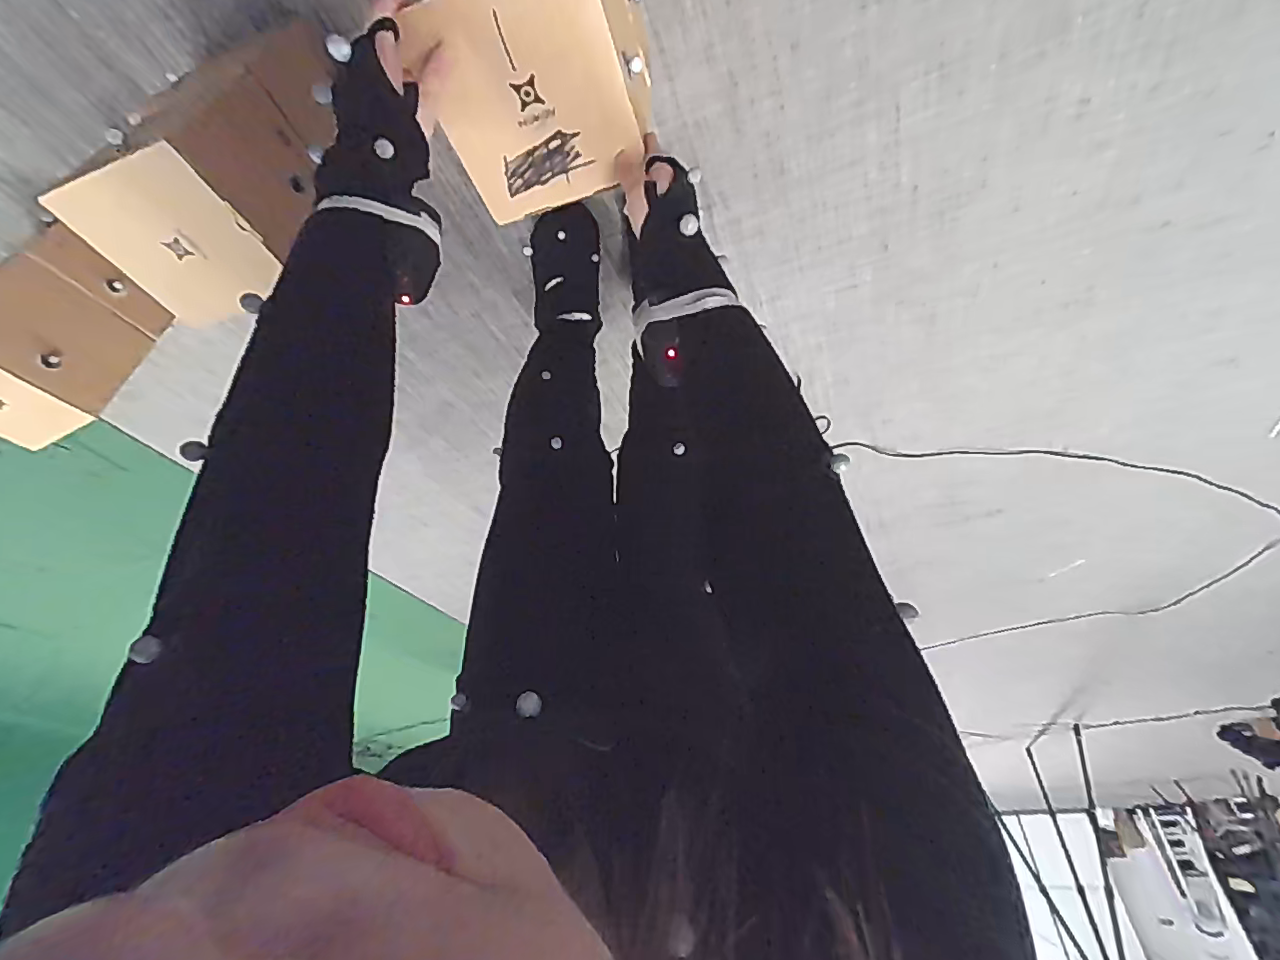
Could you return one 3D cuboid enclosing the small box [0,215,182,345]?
[{"bbox_3d":[-0.878,-0.321,0.888,0.168,0.176,0.179,-15,140,18],"label":"small box"}]

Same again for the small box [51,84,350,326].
[{"bbox_3d":[-0.478,-0.312,0.622,0.179,0.176,0.168,-11,141,15],"label":"small box"}]

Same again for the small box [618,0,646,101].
[{"bbox_3d":[-0.094,-0.524,0.607,0.168,0.176,0.179,-12,142,15],"label":"small box"}]

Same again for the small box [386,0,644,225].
[{"bbox_3d":[-0.096,-0.386,0.514,0.168,0.176,0.179,-10,143,15],"label":"small box"}]

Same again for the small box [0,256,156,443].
[{"bbox_3d":[-0.879,-0.187,0.792,0.168,0.176,0.179,-16,140,19],"label":"small box"}]
